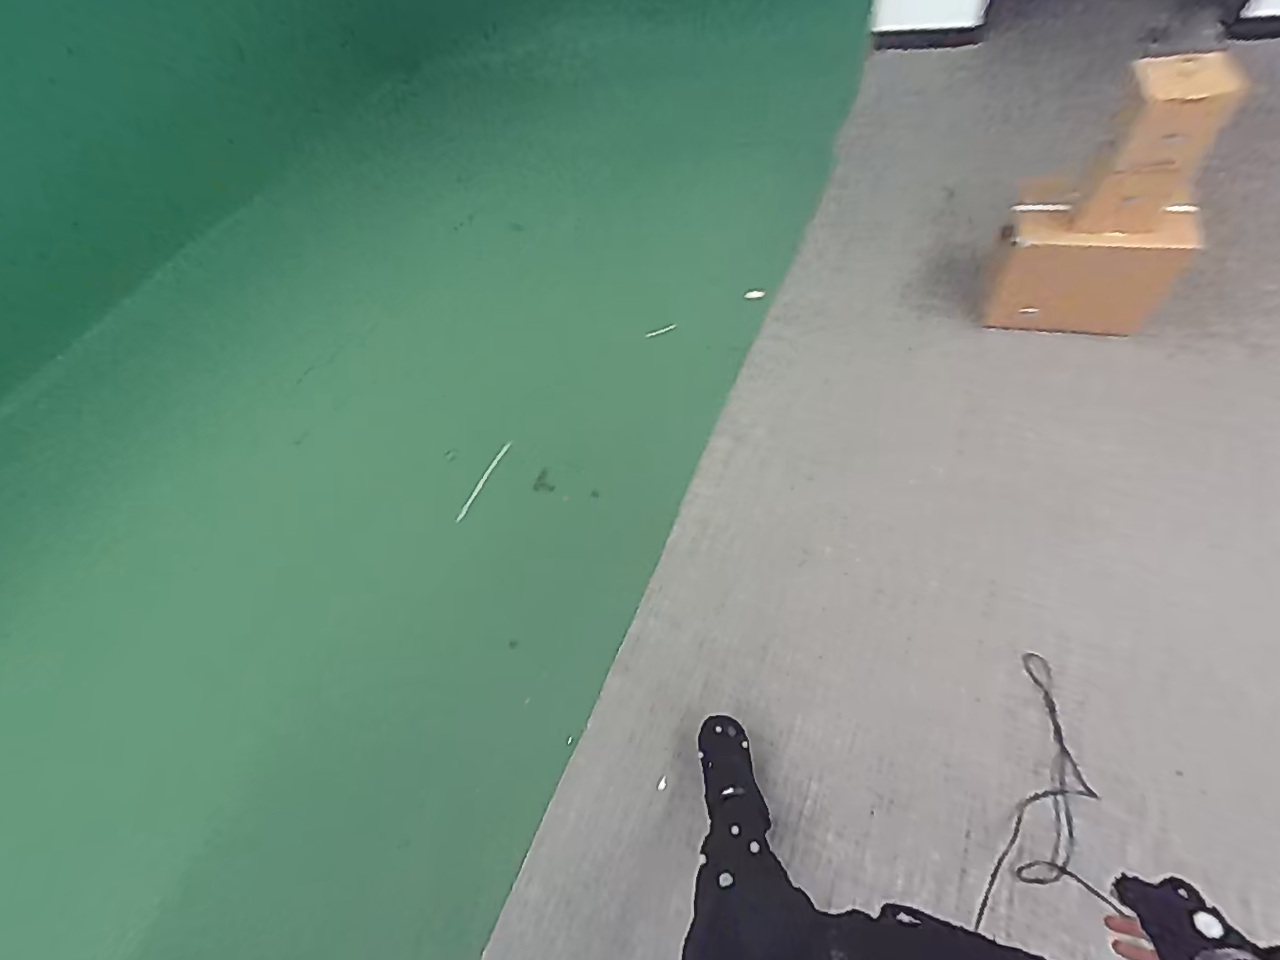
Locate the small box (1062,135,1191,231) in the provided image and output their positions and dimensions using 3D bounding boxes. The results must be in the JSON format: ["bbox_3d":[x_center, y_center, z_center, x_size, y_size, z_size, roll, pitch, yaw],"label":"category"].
[{"bbox_3d":[1.240,-0.765,1.393,0.179,0.176,0.168,5,61,14],"label":"small box"}]

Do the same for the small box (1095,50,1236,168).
[{"bbox_3d":[1.208,-0.854,1.259,0.168,0.176,0.179,7,62,16],"label":"small box"}]
